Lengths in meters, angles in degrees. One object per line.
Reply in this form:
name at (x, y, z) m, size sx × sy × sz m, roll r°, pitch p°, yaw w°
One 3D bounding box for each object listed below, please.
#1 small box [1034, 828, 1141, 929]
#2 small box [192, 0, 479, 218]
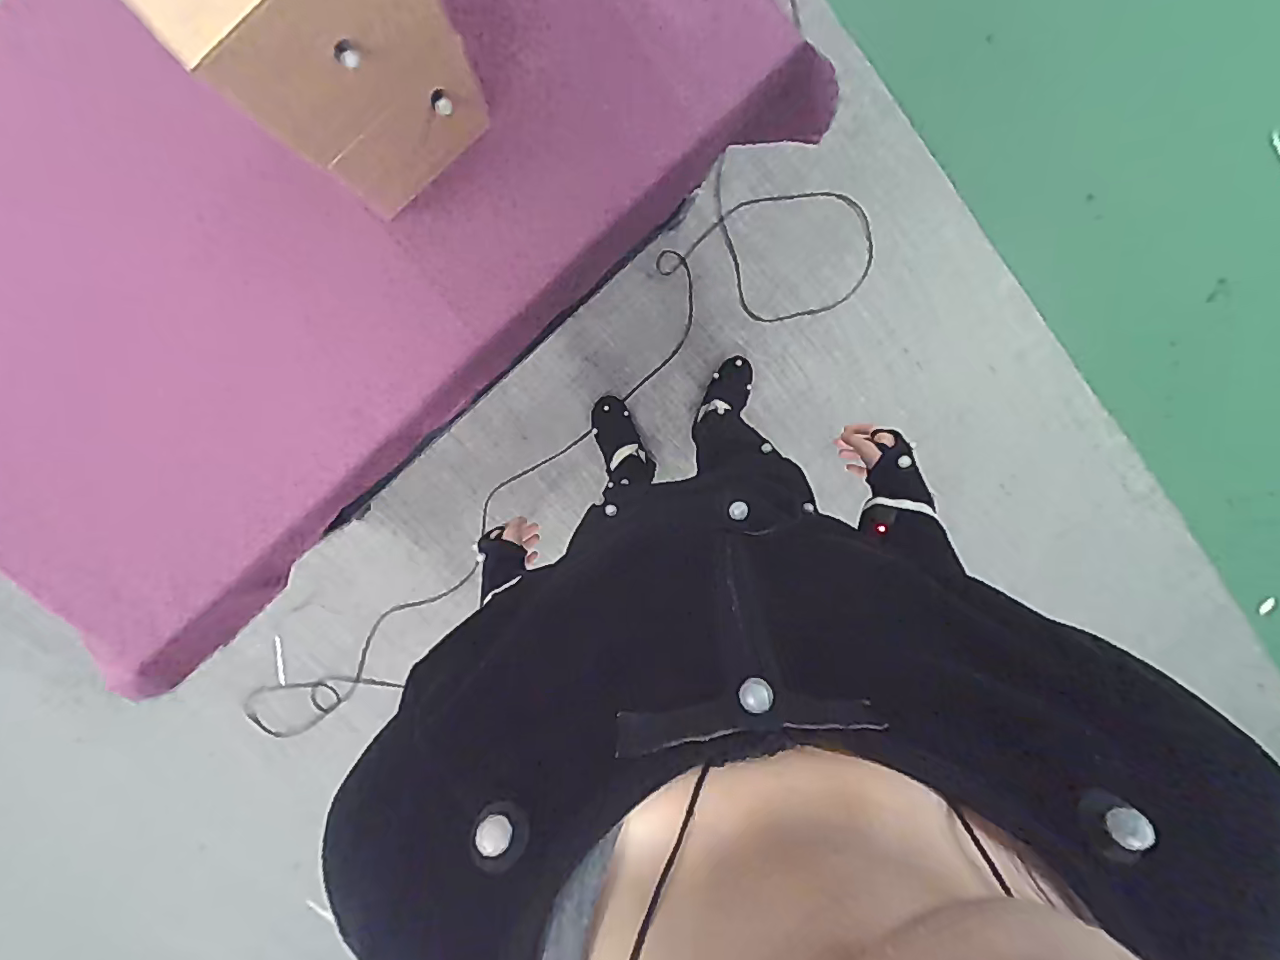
small box at (1.454, 1.292, 1.766) m, size 0.168 × 0.176 × 0.179 m, roll -43°, pitch 100°, yaw 3°
small box at (-0.291, -0.418, 0.569) m, size 0.179 × 0.176 × 0.168 m, roll -41°, pitch 100°, yaw 3°
